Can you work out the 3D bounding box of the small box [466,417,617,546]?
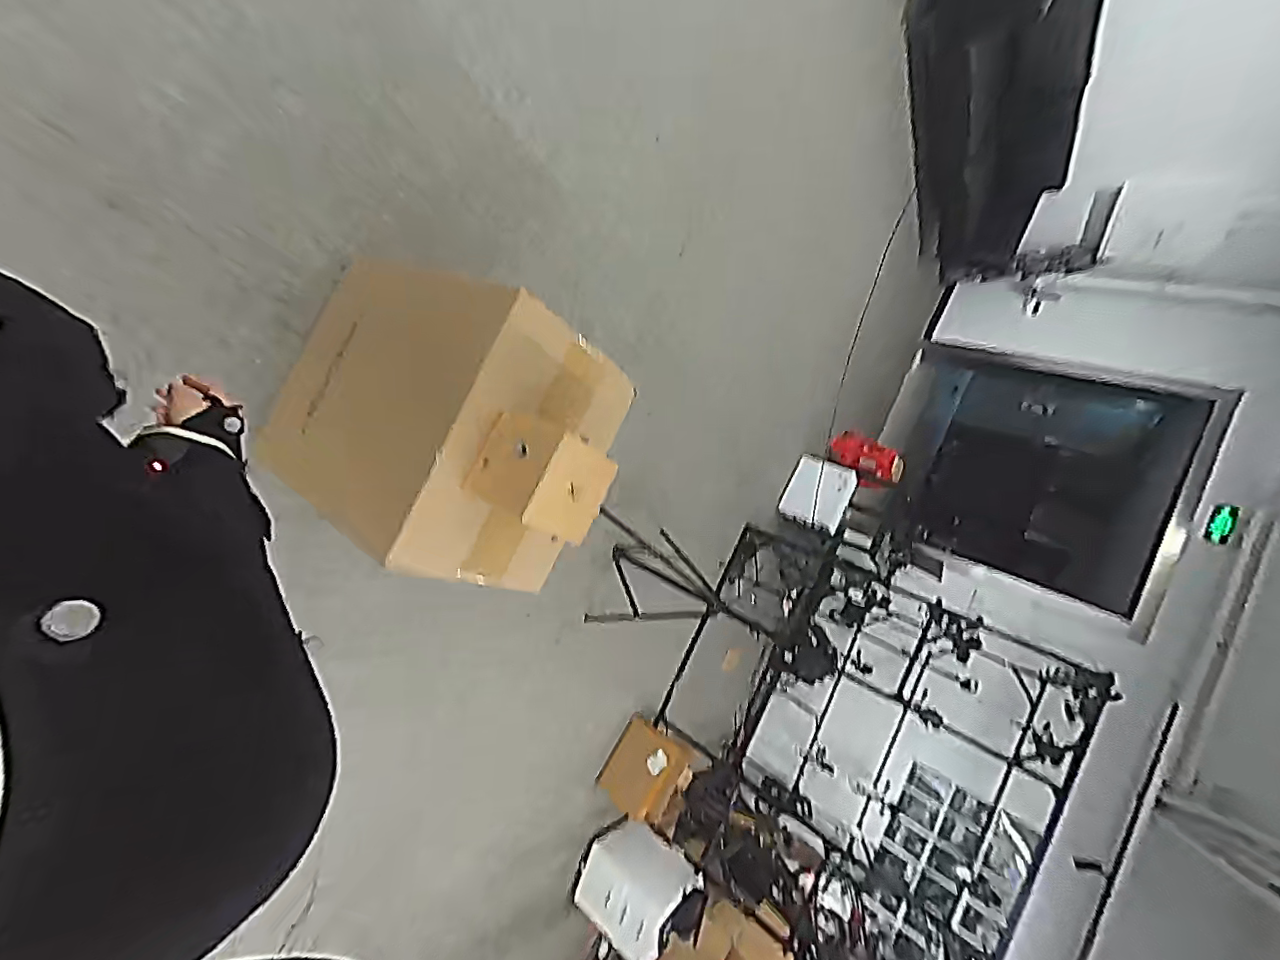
[{"bbox_3d":[-0.178,-0.001,0.982,0.179,0.176,0.168,36,78,-57],"label":"small box"}]
